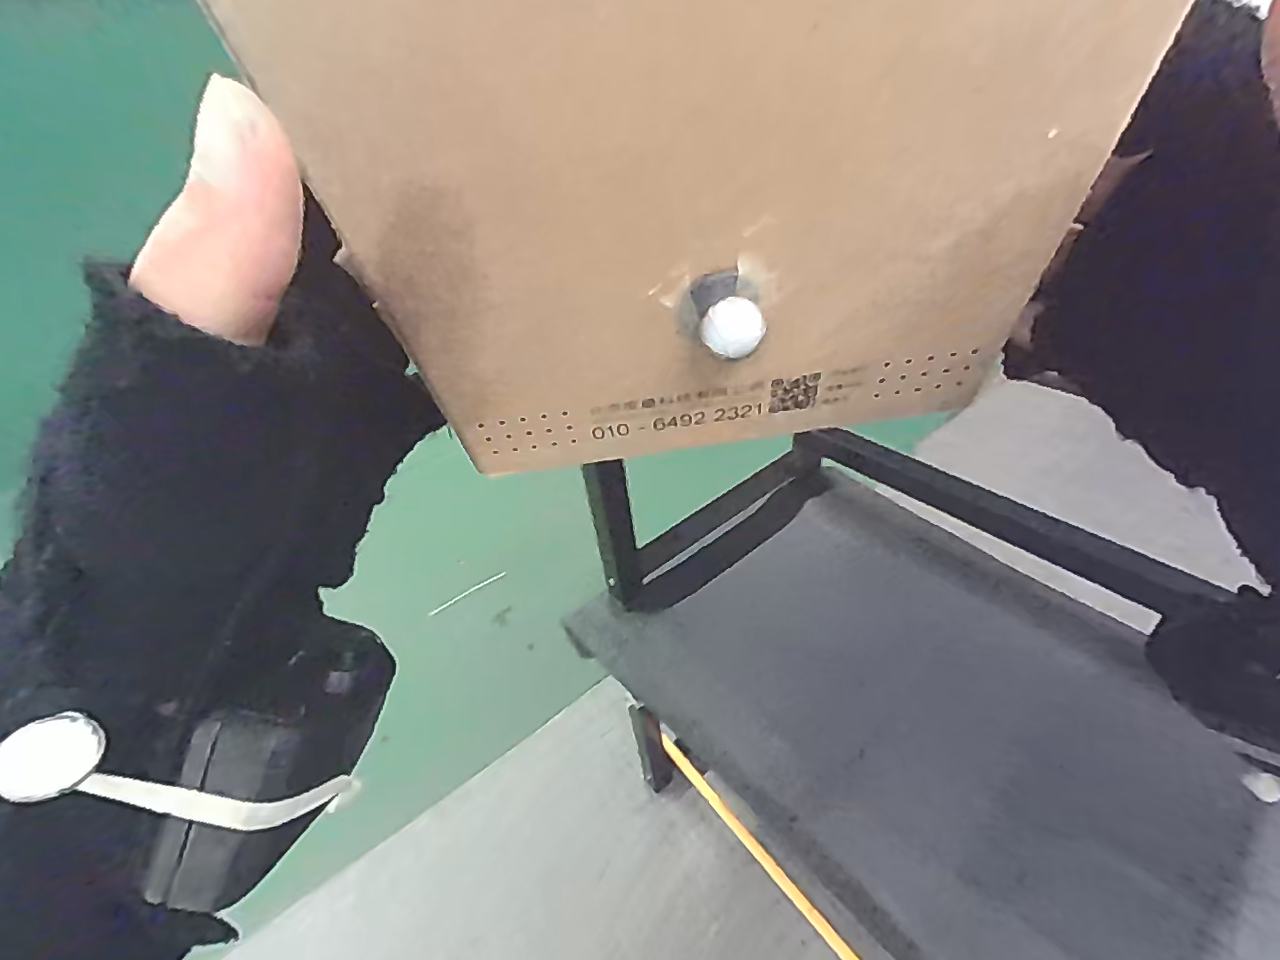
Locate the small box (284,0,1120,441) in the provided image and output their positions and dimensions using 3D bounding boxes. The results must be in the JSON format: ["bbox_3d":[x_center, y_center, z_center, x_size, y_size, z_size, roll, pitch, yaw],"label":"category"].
[{"bbox_3d":[0.008,-0.138,0.171,0.168,0.176,0.179,-9,53,2],"label":"small box"}]
